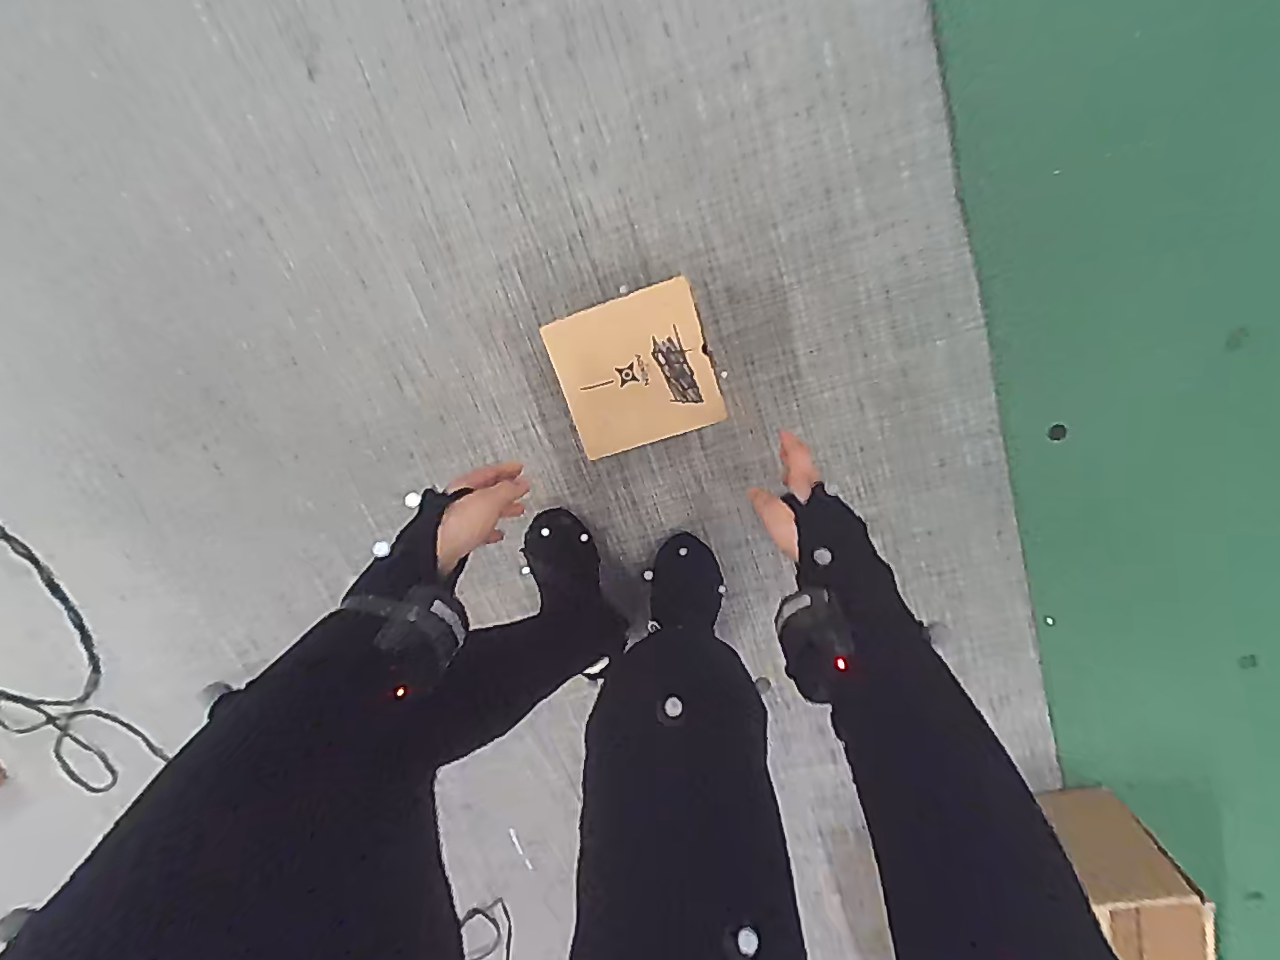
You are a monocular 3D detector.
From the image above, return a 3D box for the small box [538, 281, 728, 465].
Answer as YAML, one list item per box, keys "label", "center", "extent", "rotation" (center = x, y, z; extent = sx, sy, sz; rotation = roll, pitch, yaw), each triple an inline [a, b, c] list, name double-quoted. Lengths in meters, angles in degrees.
- label: "small box"
  center: [0.000, -0.139, 0.673]
  extent: [0.179, 0.176, 0.168]
  rotation: [-16, 106, 12]
